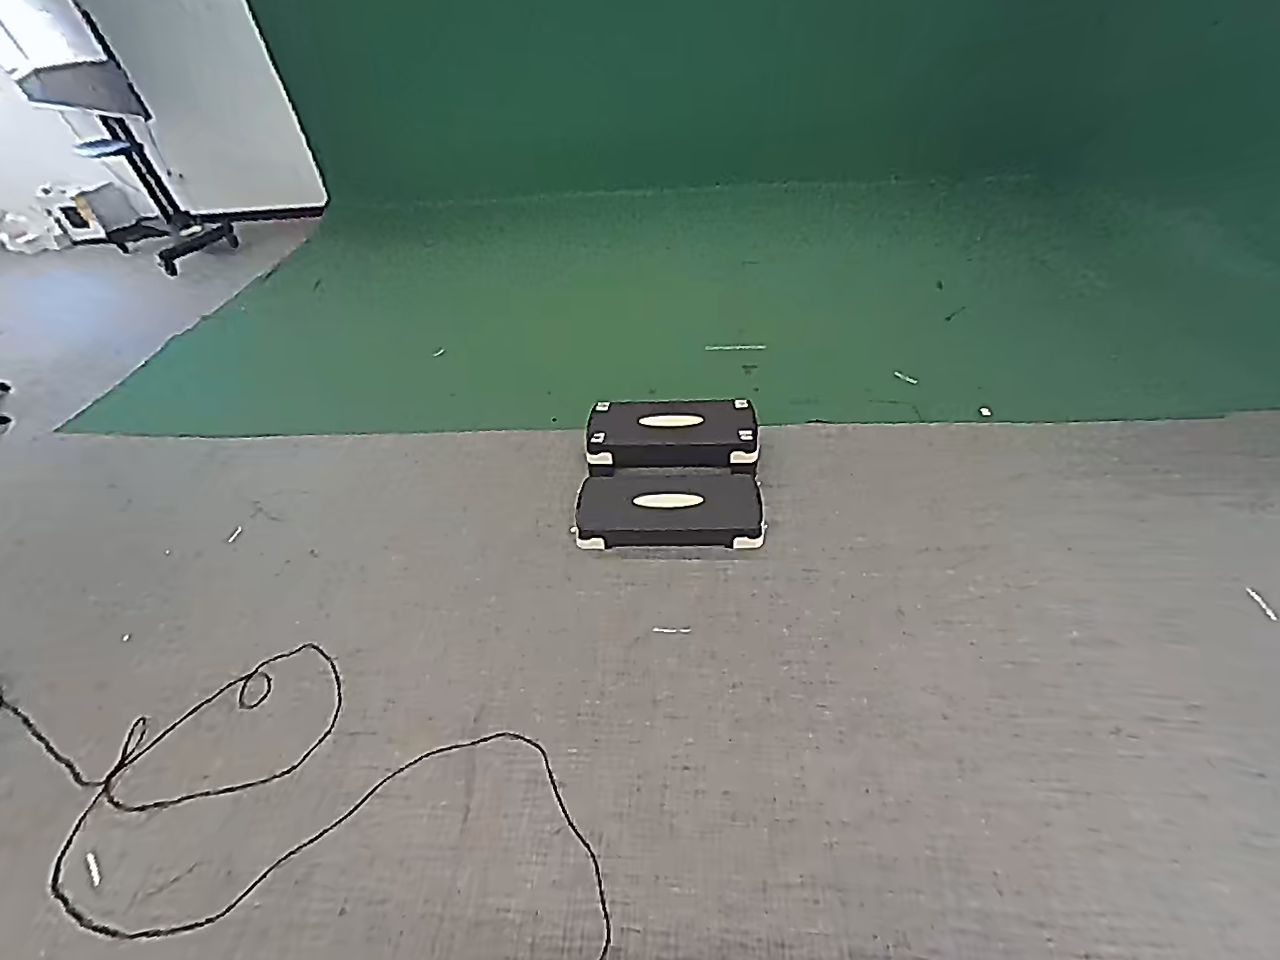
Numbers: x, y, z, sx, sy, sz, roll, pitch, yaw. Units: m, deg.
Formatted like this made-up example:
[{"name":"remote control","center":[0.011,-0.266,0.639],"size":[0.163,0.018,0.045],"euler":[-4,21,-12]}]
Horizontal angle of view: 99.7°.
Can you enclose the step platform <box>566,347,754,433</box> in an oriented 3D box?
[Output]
[{"name":"step platform","center":[0.077,-0.339,2.051],"size":[0.684,0.204,0.286],"euler":[-1,45,5]}]
